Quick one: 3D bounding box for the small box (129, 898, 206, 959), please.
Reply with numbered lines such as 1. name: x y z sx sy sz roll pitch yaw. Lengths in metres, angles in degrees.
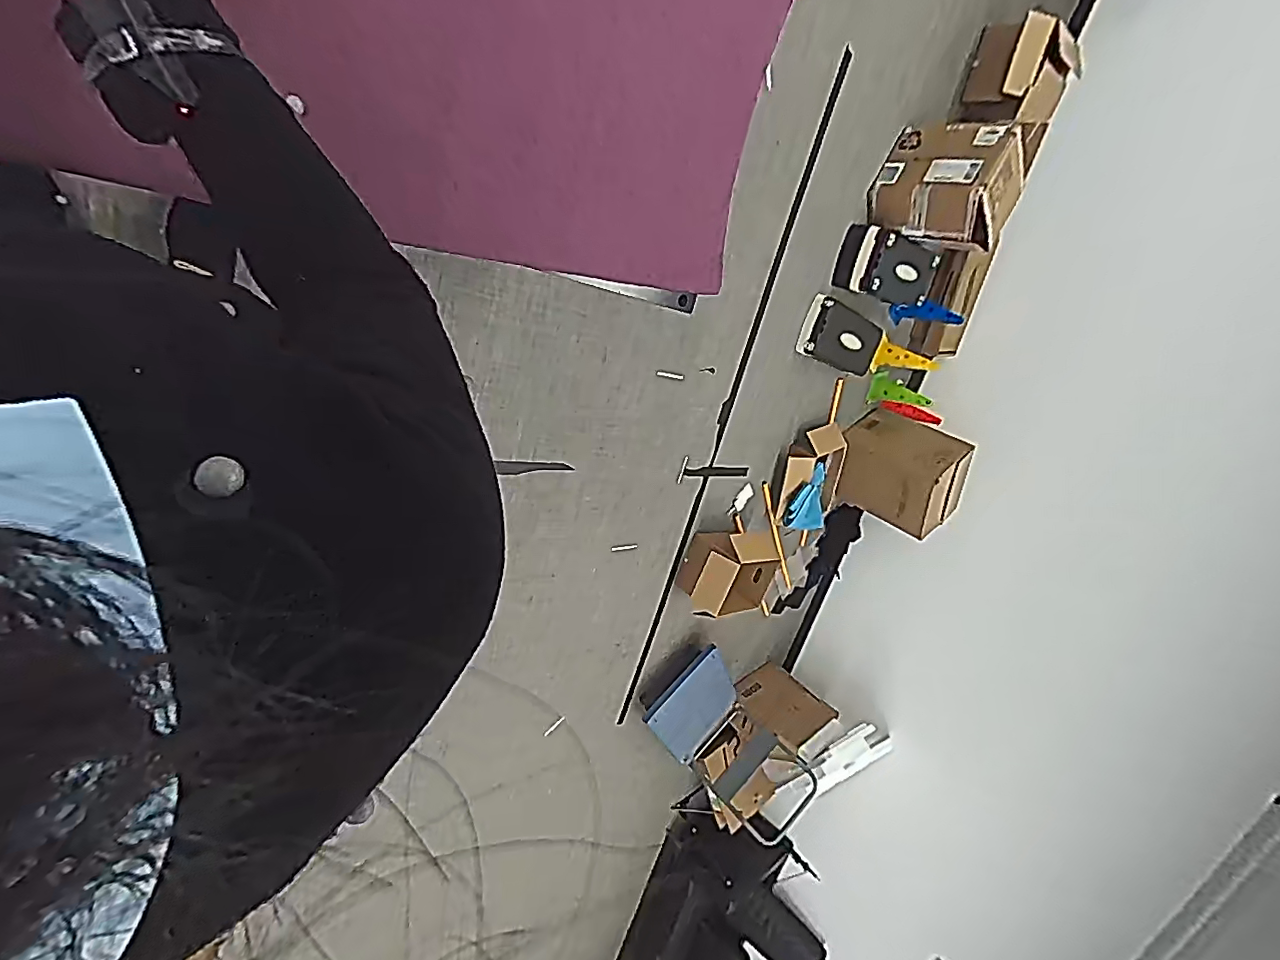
1. small box: -1.450 1.453 1.664 0.168 0.176 0.179 -8 120 -43
